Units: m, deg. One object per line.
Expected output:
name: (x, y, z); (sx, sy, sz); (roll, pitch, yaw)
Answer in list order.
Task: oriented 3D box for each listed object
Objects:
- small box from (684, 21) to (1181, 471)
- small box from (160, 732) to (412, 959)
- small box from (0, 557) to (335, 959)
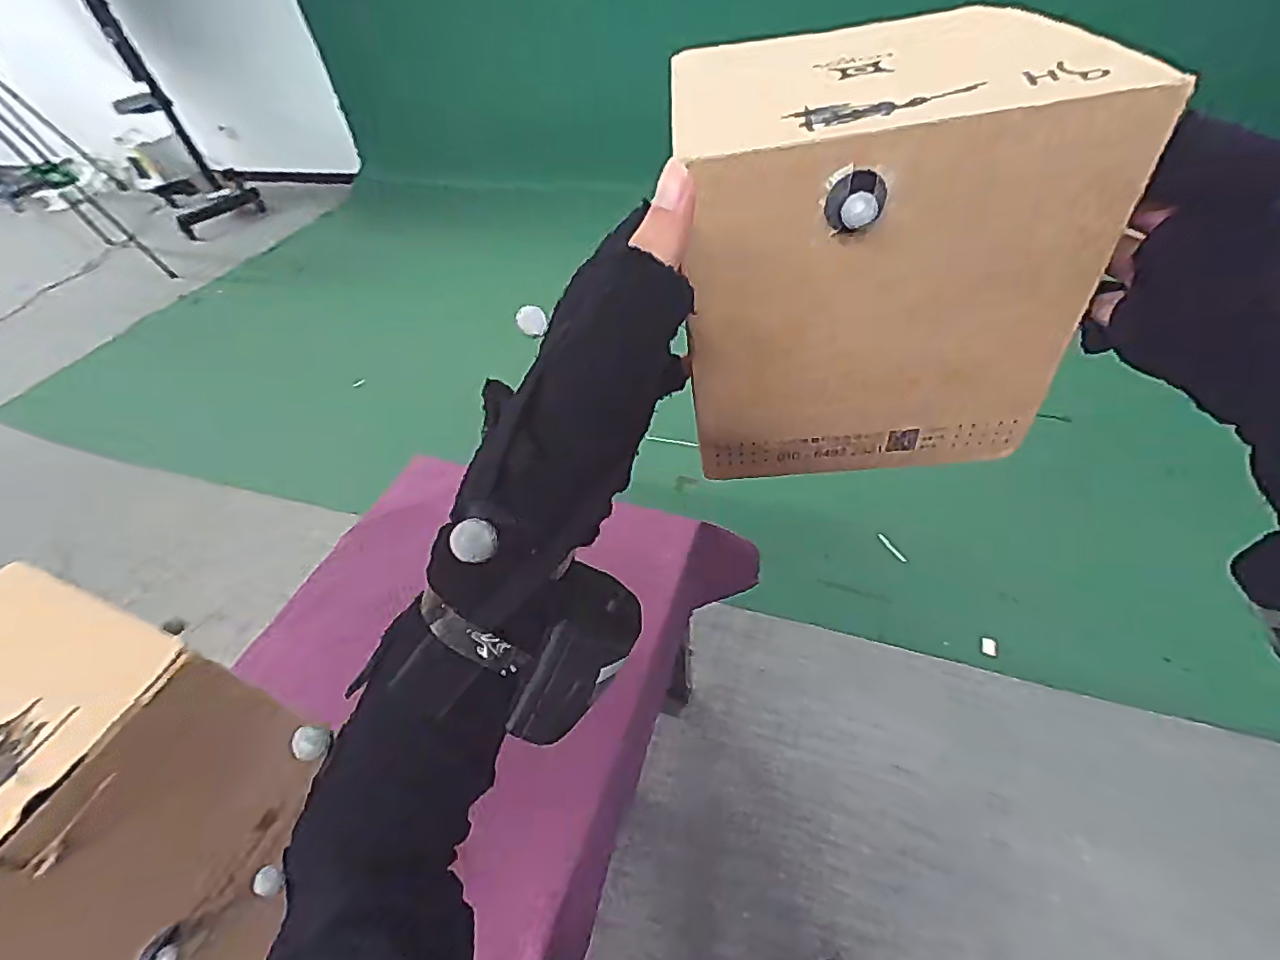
small box: (0.114, -0.126, 0.302); (0.168, 0.176, 0.179); (-4, 46, 9)
small box: (-0.338, 0.291, 0.461); (0.179, 0.176, 0.168); (14, 52, 18)
small box: (-0.342, 0.180, 0.340); (0.179, 0.176, 0.168); (14, 51, 19)
